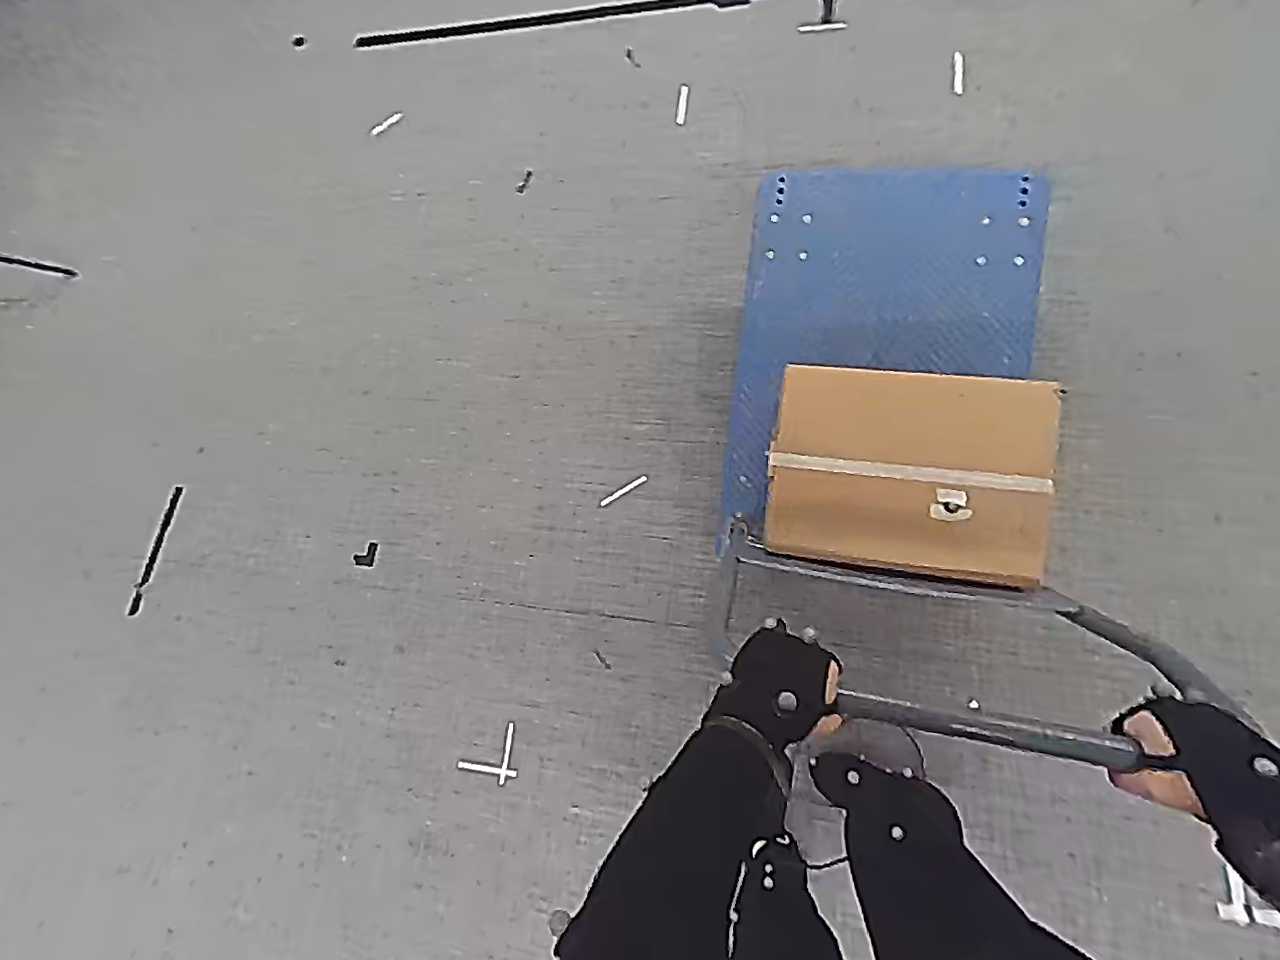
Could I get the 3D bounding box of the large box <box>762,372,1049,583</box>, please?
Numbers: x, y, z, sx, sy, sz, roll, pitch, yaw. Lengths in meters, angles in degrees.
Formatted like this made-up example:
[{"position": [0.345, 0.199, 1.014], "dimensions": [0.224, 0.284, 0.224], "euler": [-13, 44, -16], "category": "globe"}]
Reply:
[{"position": [0.447, -0.007, 1.011], "dimensions": [0.408, 0.320, 0.320], "euler": [6, 91, 12], "category": "large box"}]
